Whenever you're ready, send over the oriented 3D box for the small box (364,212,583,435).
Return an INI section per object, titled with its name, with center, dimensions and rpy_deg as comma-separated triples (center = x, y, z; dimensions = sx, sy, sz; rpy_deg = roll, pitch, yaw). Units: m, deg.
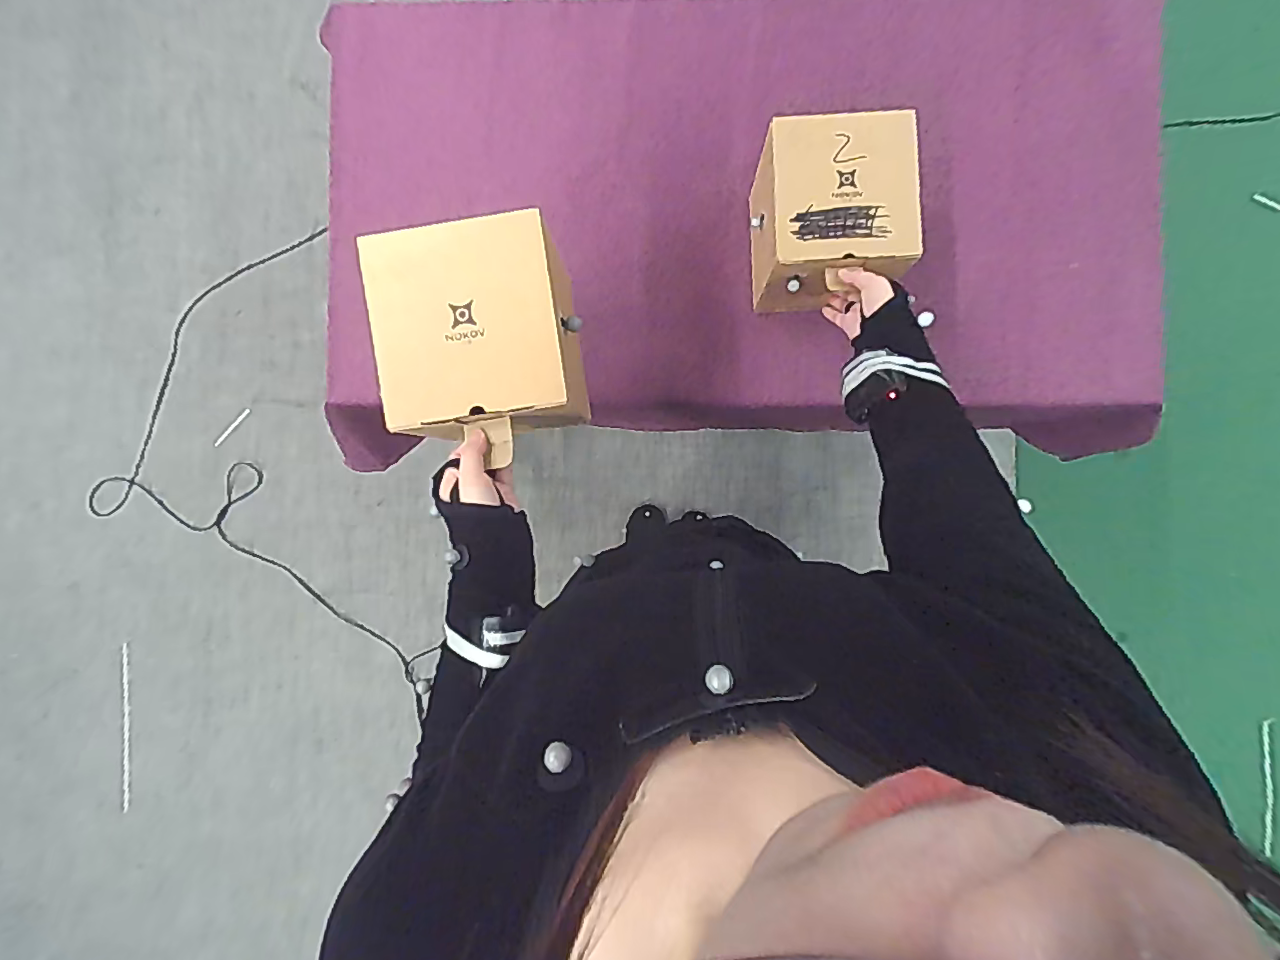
[small box]
center = -0.159, -0.149, 0.572
dimensions = 0.168, 0.176, 0.179
rpy_deg = -8, 92, 1
